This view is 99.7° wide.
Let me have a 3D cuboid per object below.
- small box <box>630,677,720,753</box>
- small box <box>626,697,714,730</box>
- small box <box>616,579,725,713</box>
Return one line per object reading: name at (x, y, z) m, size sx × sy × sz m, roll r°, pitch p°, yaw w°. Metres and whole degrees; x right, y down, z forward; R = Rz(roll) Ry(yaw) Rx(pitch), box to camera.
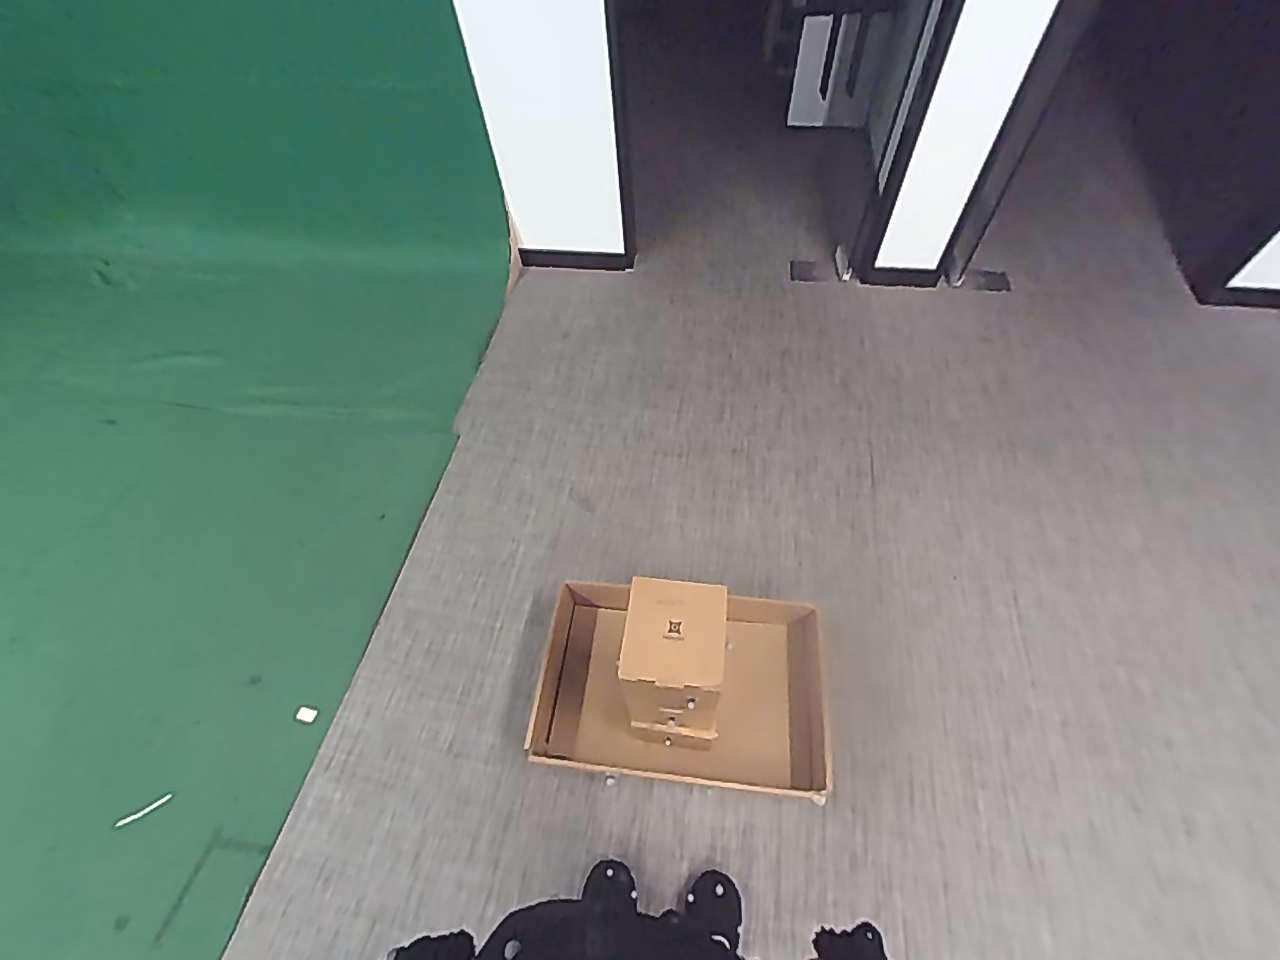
small box at (0.083, 0.505, 1.222) m, size 0.179 × 0.176 × 0.168 m, roll 6°, pitch 55°, yaw 9°
small box at (0.069, 0.399, 1.102) m, size 0.168 × 0.176 × 0.179 m, roll 2°, pitch 55°, yaw 7°
small box at (0.058, 0.297, 0.952) m, size 0.168 × 0.176 × 0.179 m, roll 5°, pitch 54°, yaw 6°
